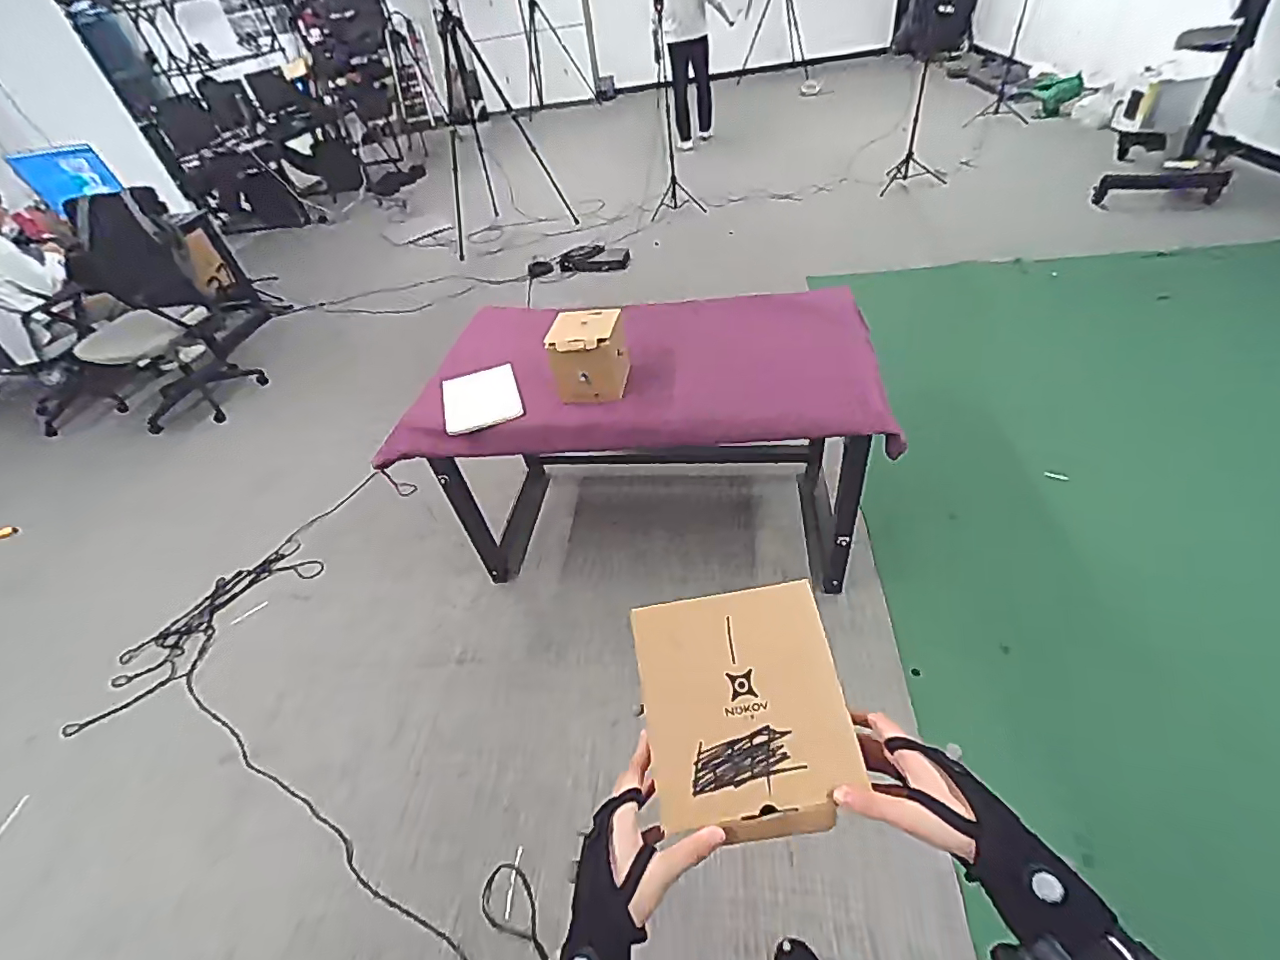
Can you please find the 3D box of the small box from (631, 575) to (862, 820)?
[{"bbox_3d":[0.088,0.209,0.527,0.168,0.176,0.179,-9,63,-1],"label":"small box"}]

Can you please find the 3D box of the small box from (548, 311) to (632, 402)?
[{"bbox_3d":[-0.121,-0.313,1.395,0.168,0.176,0.179,0,45,11],"label":"small box"}]
